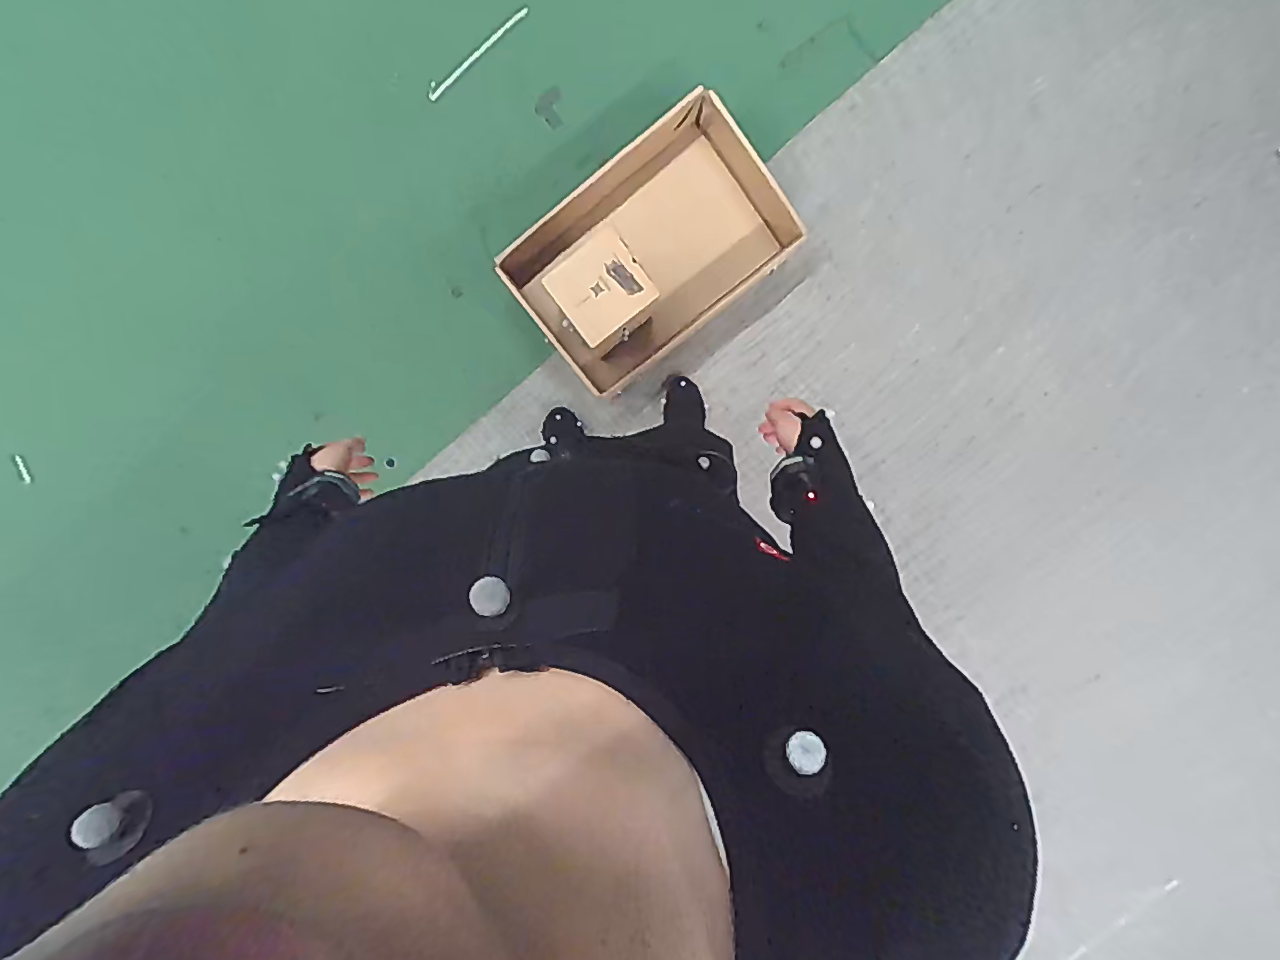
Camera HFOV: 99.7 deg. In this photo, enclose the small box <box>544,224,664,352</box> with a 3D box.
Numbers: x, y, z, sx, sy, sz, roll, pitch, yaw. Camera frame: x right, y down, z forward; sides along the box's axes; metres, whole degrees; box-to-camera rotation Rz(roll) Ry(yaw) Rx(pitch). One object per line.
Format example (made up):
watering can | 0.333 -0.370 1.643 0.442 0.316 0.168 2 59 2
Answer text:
small box | -0.073 -0.383 1.113 0.179 0.176 0.168 -38 98 4
